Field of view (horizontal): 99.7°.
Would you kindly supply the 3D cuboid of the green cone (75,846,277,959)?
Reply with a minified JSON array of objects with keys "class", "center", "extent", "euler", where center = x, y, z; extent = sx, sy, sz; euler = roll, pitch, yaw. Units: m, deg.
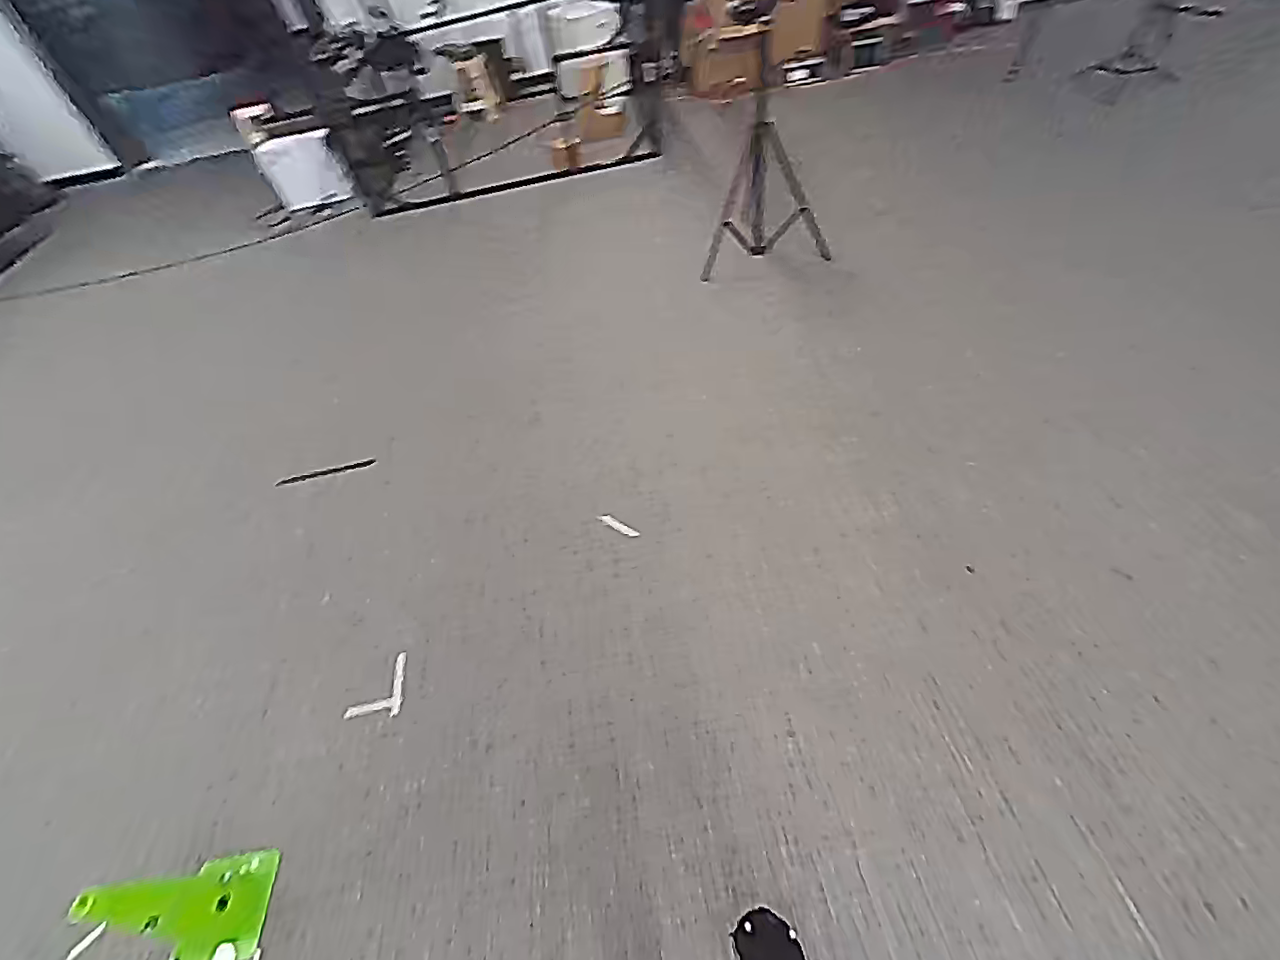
[{"class":"green cone","center":[-0.976,0.857,1.111],"extent":[0.200,0.368,0.202],"euler":[-11,48,2]}]
